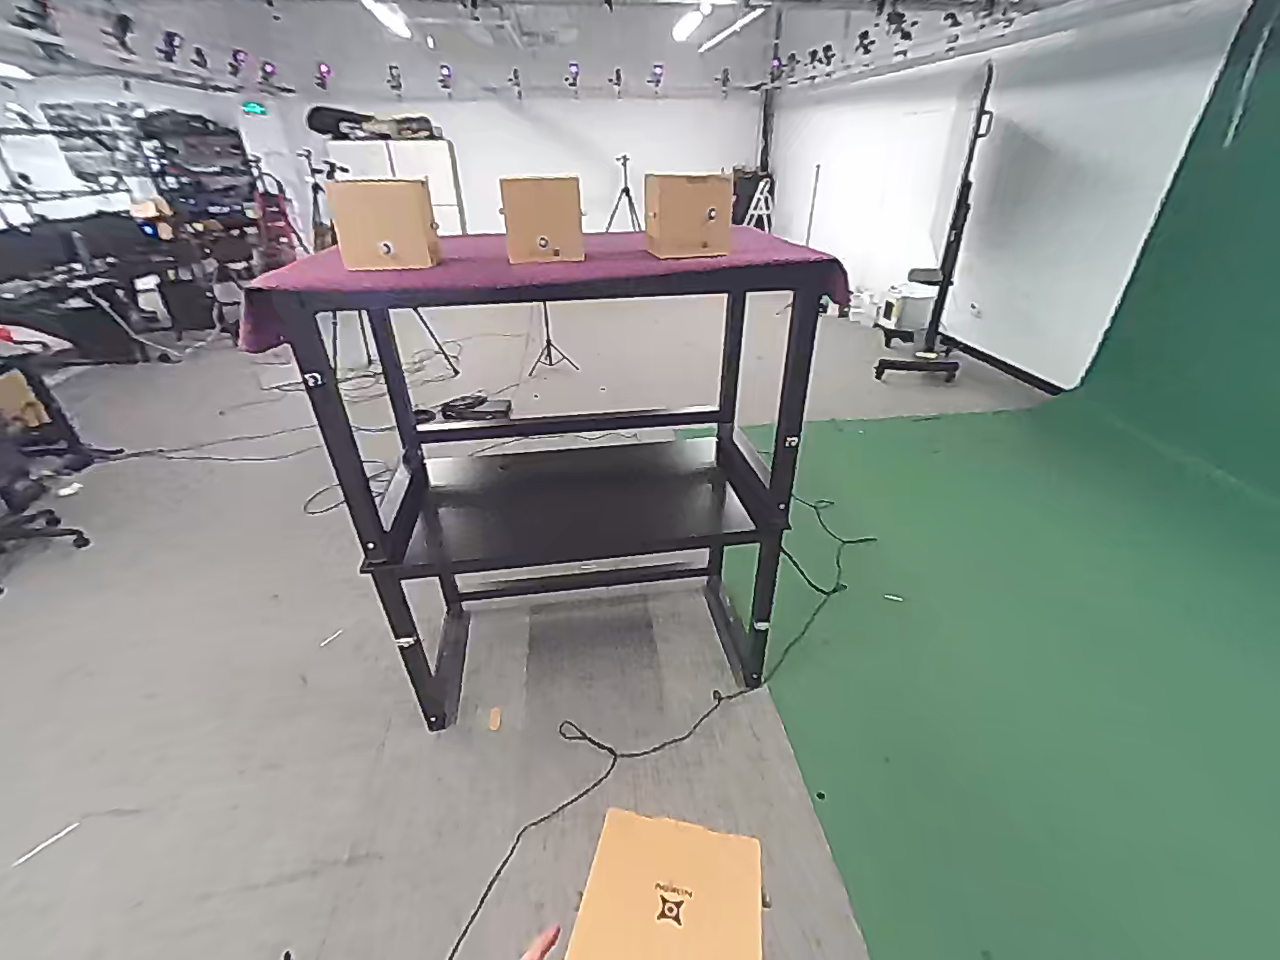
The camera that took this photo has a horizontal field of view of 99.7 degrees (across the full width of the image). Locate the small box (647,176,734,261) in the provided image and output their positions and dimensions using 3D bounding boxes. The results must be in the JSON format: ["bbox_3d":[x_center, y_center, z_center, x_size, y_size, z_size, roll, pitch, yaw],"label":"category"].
[{"bbox_3d":[0.114,-0.608,1.260,0.168,0.176,0.179,-6,30,-8],"label":"small box"}]

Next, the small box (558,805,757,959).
[{"bbox_3d":[0.022,0.466,0.522,0.168,0.176,0.179,6,17,10],"label":"small box"}]

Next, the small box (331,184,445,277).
[{"bbox_3d":[-0.534,-0.544,1.176,0.179,0.176,0.168,-5,30,-9],"label":"small box"}]
